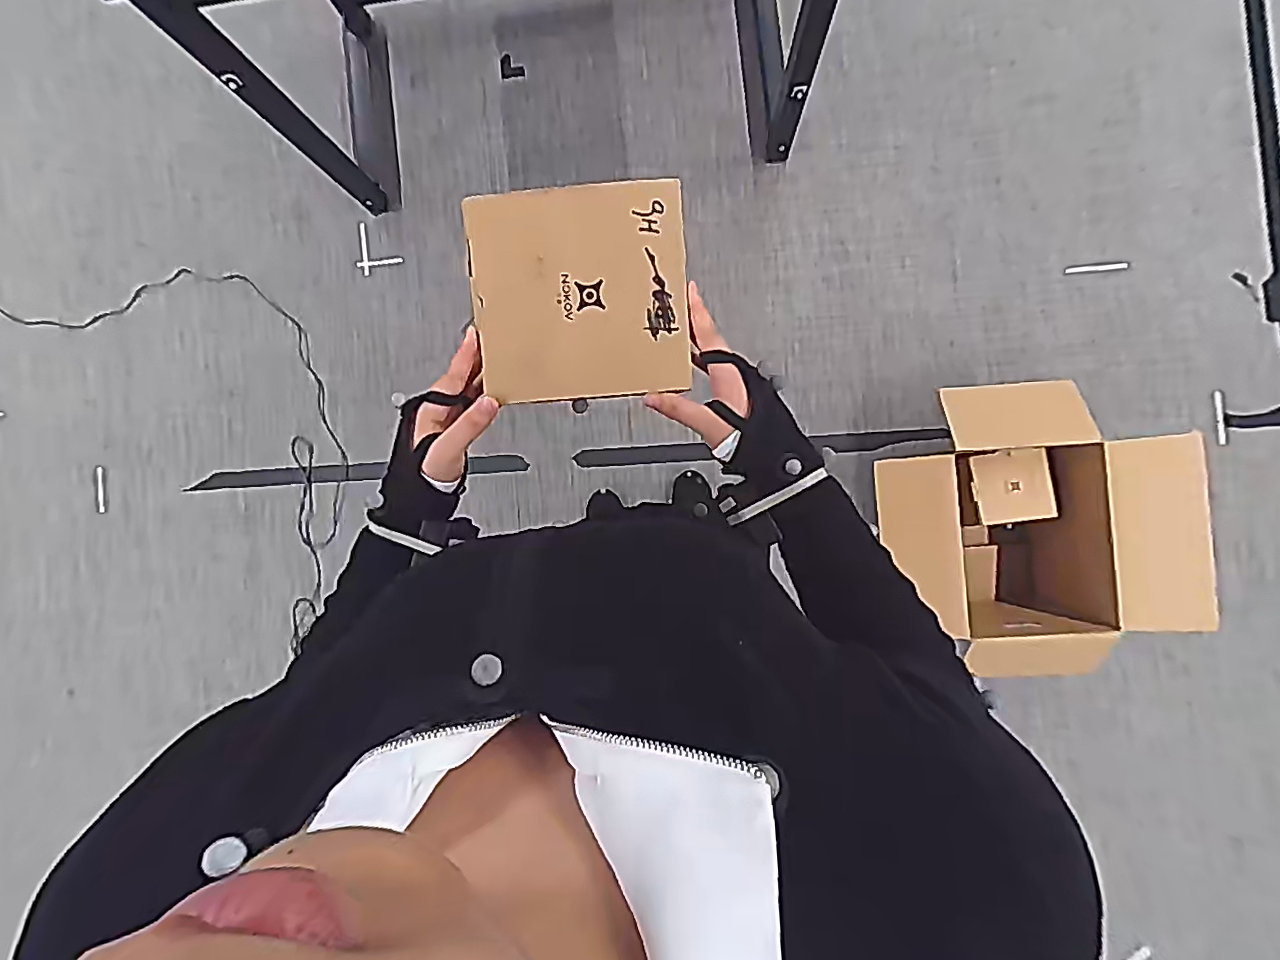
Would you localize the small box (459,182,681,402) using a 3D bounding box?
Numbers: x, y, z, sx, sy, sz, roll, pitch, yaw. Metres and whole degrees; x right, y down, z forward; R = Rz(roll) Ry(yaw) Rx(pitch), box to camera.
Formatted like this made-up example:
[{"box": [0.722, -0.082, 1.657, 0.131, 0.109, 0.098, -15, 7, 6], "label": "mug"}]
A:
[{"box": [-0.053, -0.163, 0.522, 0.179, 0.176, 0.168, -4, 98, 2], "label": "small box"}]
